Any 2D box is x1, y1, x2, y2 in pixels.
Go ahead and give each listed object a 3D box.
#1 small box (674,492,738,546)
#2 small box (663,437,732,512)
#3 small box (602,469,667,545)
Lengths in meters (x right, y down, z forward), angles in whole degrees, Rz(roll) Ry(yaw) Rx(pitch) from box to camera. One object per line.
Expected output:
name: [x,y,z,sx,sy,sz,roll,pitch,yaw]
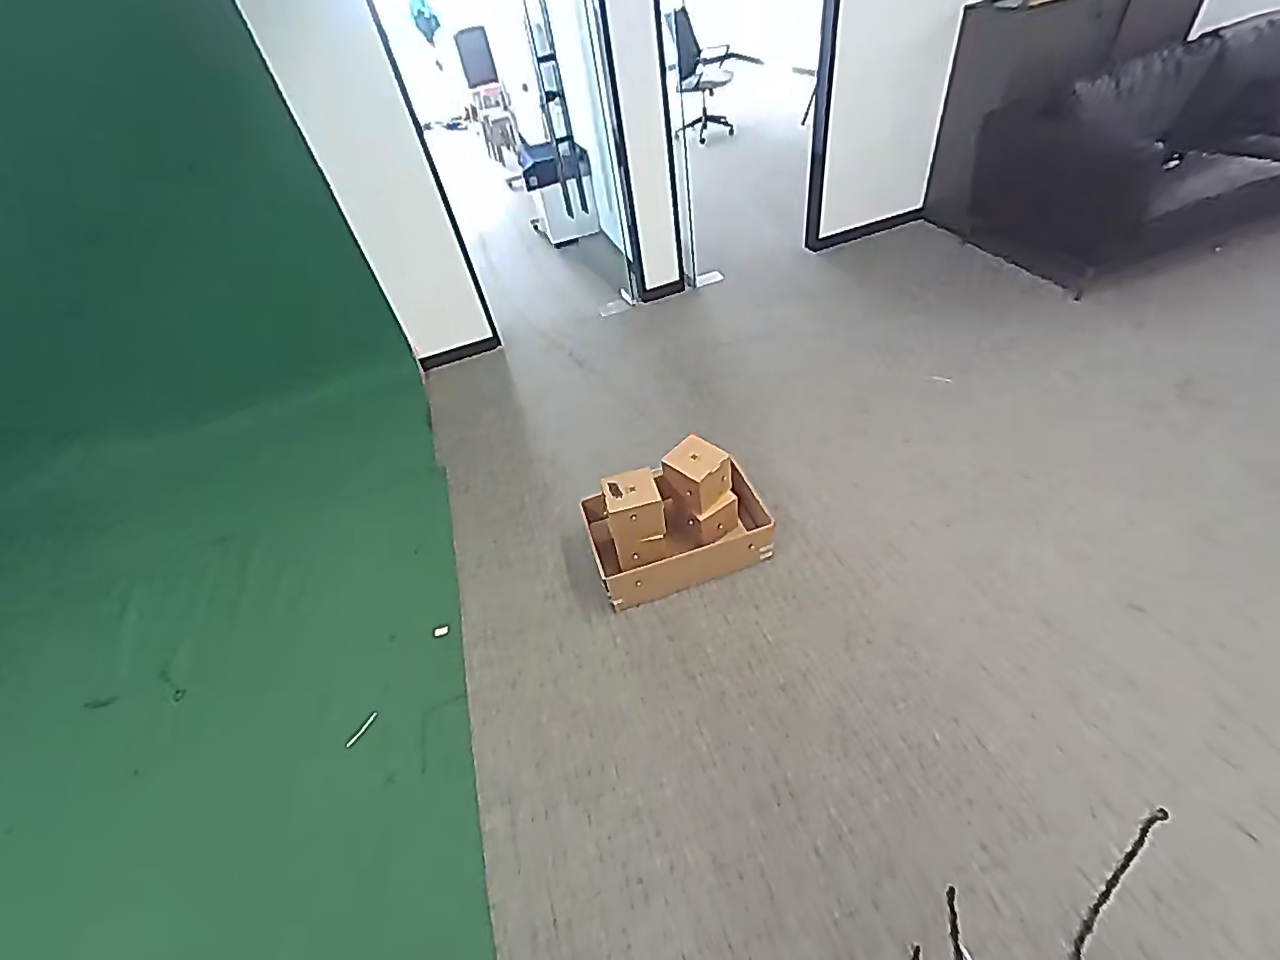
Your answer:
small box: [0.244,0.118,1.965,0.168,0.176,0.179,-30,47,-17]
small box: [0.204,-0.013,1.870,0.168,0.176,0.179,-38,51,-24]
small box: [-0.018,0.095,1.806,0.179,0.176,0.168,-14,44,-5]
